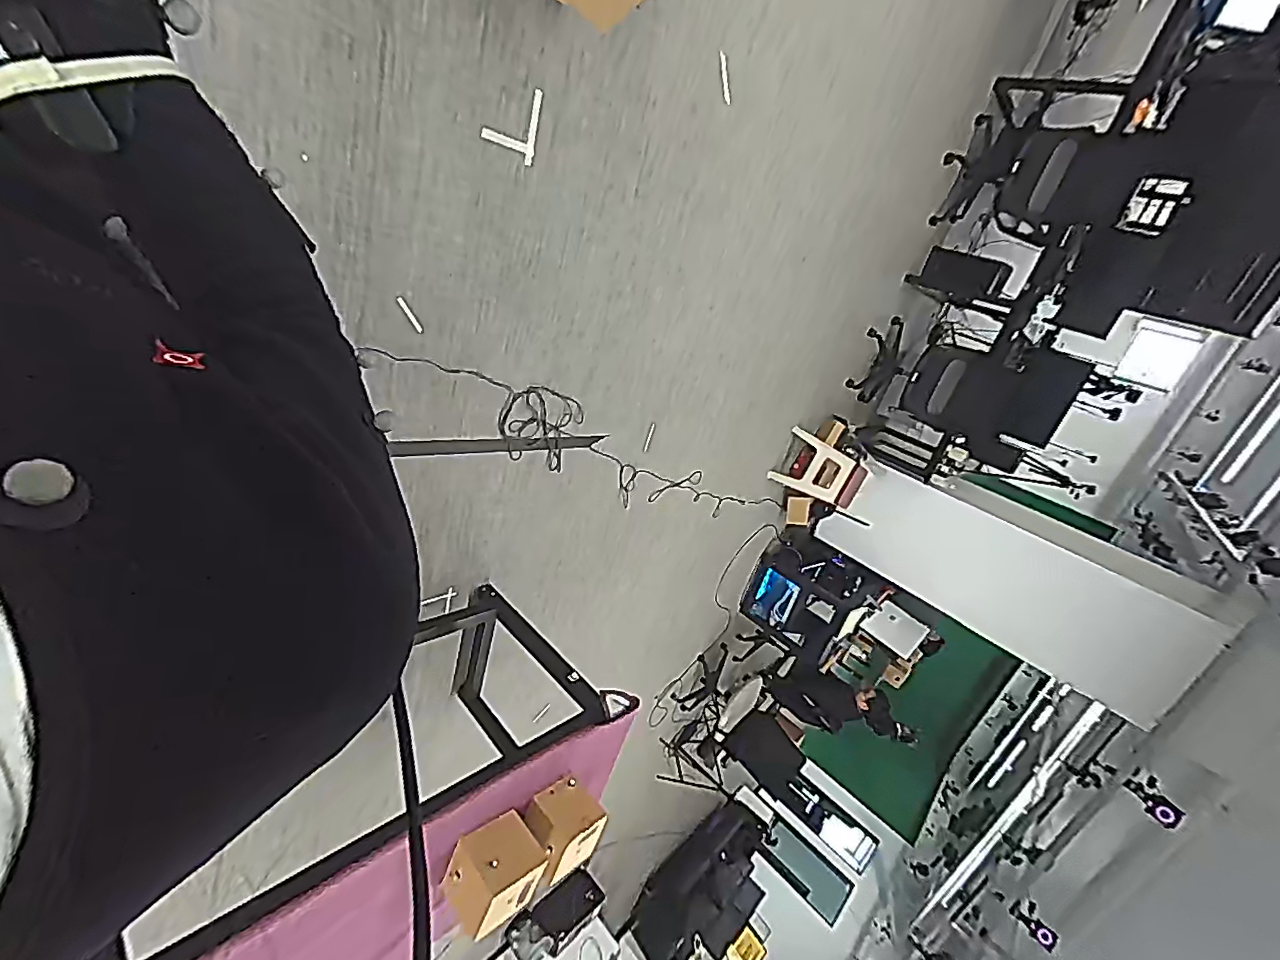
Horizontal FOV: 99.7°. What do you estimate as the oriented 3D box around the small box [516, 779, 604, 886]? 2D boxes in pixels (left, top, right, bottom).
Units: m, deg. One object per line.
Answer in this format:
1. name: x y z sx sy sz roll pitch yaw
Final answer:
1. small box: -0.239 1.017 1.584 0.168 0.176 0.179 0 117 -51
